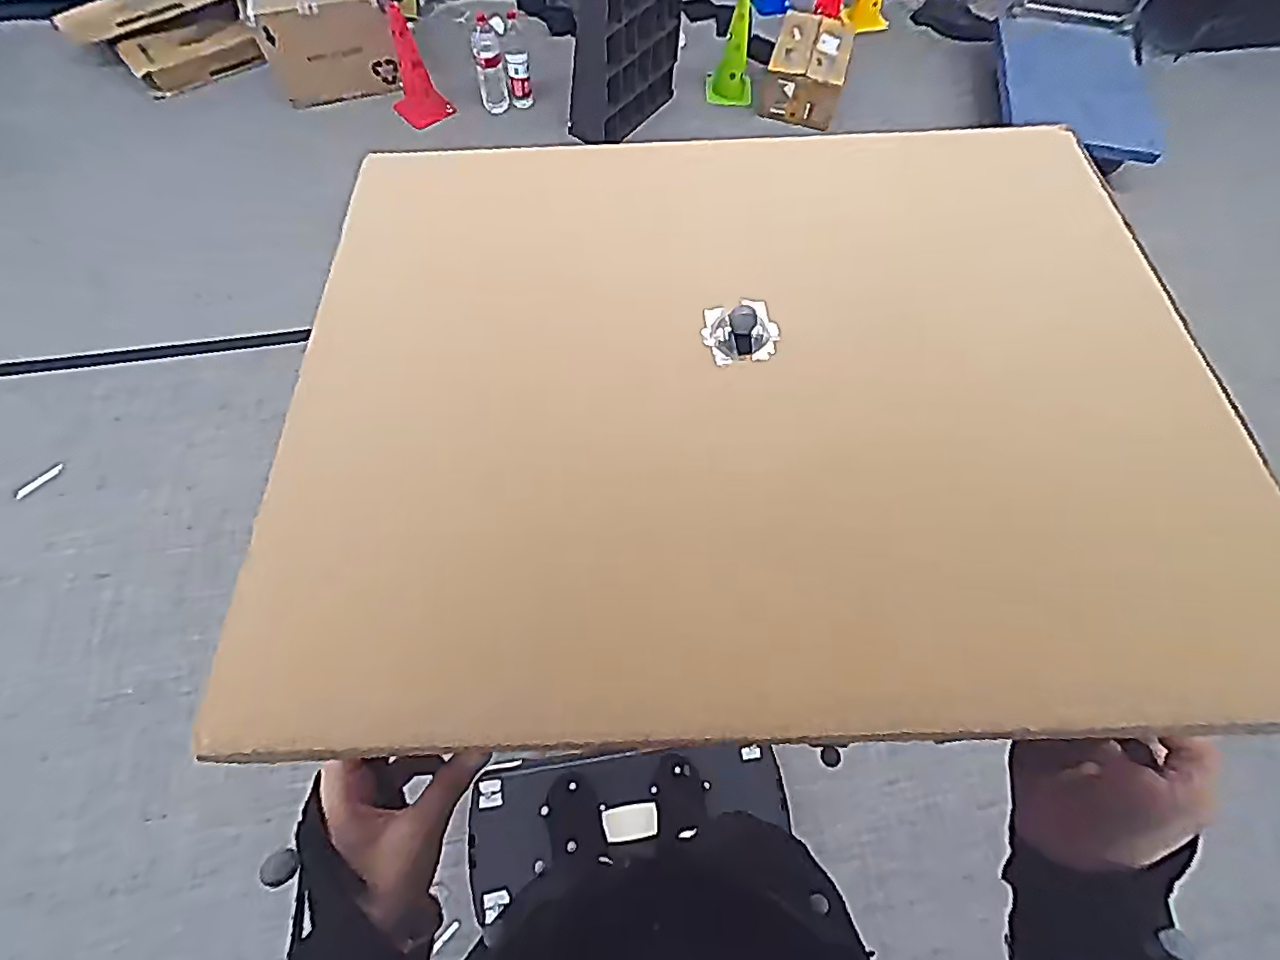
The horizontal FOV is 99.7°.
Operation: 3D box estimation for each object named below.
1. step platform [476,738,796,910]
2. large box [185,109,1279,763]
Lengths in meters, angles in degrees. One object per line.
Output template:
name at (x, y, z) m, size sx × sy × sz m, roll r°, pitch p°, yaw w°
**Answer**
step platform at (-0.009, 0.734, 1.203) m, size 0.684 × 0.204 × 0.286 m, roll -3°, pitch 67°, yaw -5°
large box at (0.035, 0.006, 0.376) m, size 0.408 × 0.320 × 0.320 m, roll -4°, pitch 67°, yaw 2°
